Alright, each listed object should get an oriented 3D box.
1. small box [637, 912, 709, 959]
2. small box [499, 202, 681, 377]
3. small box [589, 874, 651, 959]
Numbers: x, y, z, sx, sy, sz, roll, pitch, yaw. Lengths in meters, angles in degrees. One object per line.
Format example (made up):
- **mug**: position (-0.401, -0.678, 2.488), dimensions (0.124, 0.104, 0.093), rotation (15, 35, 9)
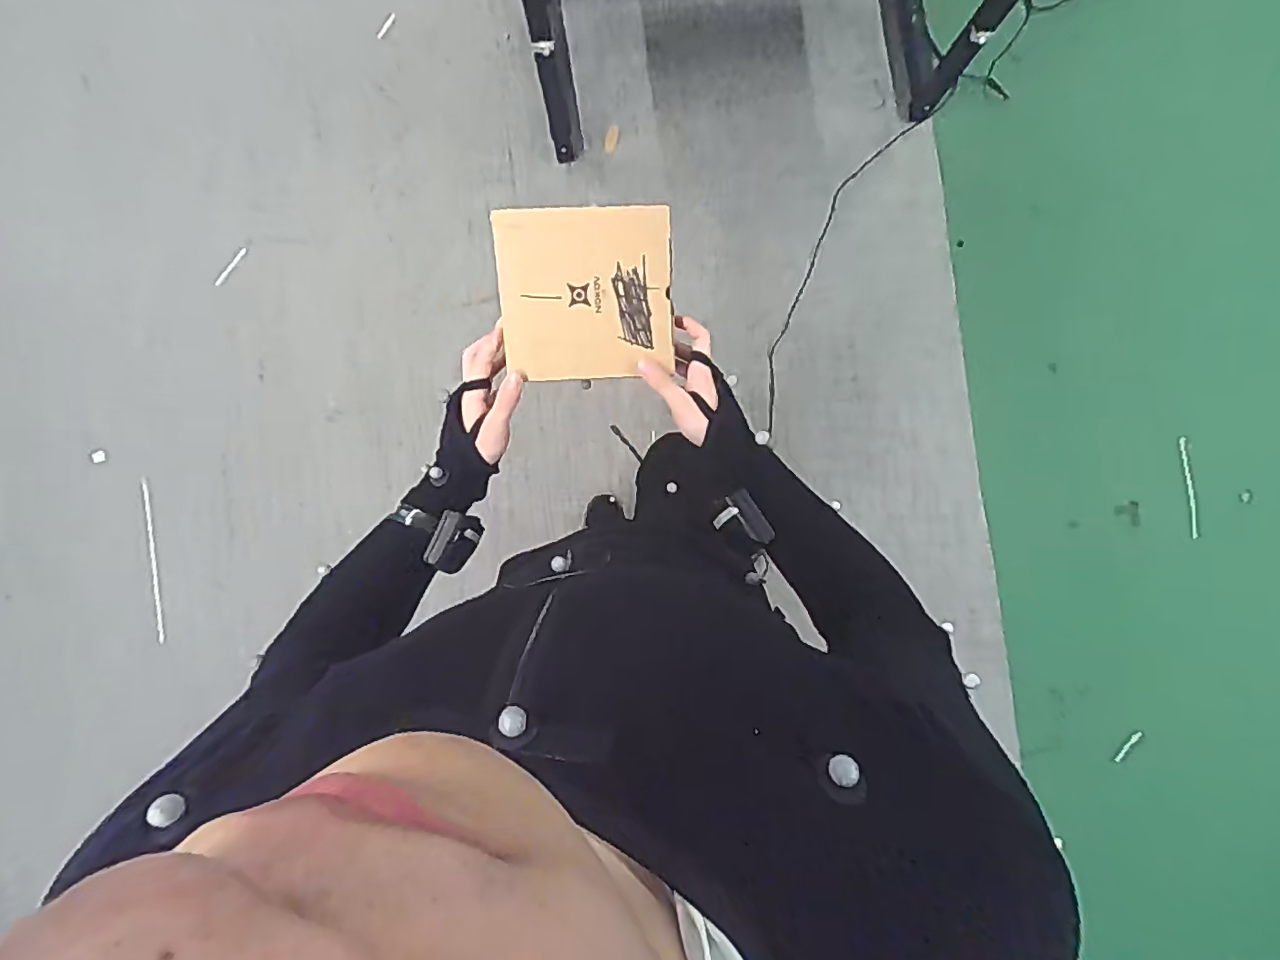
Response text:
- **small box**: position (0.088, 1.232, 1.358), dimensions (0.179, 0.176, 0.168), rotation (-9, 88, 0)
- **small box**: position (-0.053, -0.208, 0.615), dimensions (0.179, 0.176, 0.168), rotation (-3, 104, -4)
- **small box**: position (-0.050, 1.248, 1.519), dimensions (0.168, 0.176, 0.179), rotation (-7, 88, -2)
